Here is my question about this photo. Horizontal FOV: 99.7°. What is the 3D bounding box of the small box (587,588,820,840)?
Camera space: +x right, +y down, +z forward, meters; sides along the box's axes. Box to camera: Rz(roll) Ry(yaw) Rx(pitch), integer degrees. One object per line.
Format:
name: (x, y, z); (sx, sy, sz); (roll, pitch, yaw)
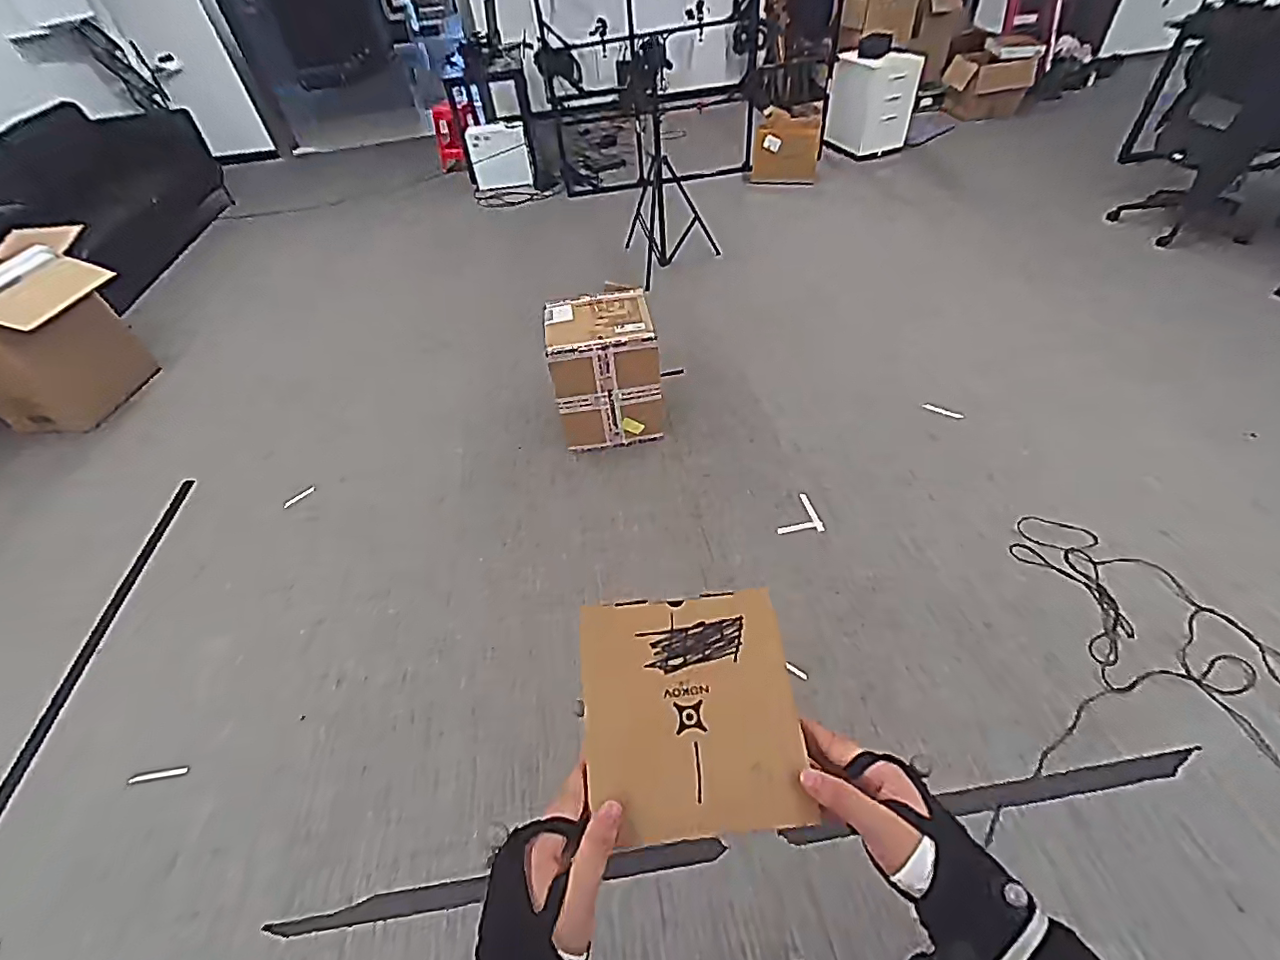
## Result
small box: (0.041, 0.216, 0.492); (0.168, 0.176, 0.179); (-5, 58, -2)
